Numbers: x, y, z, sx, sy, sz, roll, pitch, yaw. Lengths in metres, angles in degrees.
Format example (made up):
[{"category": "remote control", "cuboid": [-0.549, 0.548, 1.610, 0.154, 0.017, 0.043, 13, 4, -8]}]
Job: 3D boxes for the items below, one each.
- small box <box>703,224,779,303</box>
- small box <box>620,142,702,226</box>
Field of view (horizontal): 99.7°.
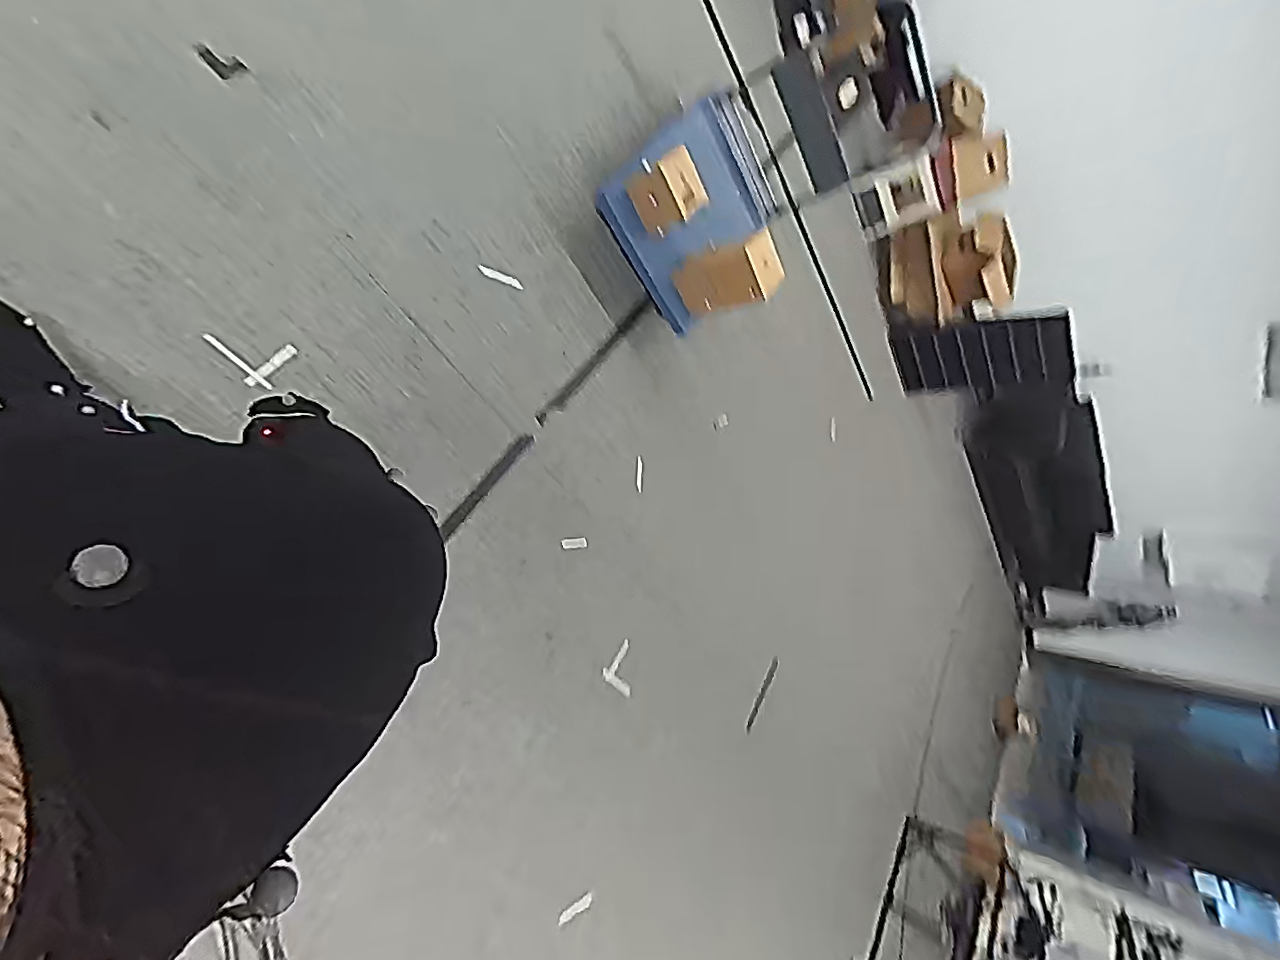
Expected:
[{"category": "small box", "cuboid": [0.340, -0.728, 1.832, 0.168, 0.176, 0.179, -52, 125, -30]}, {"category": "small box", "cuboid": [0.069, -0.969, 1.789, 0.168, 0.176, 0.179, -53, 123, -30]}]
